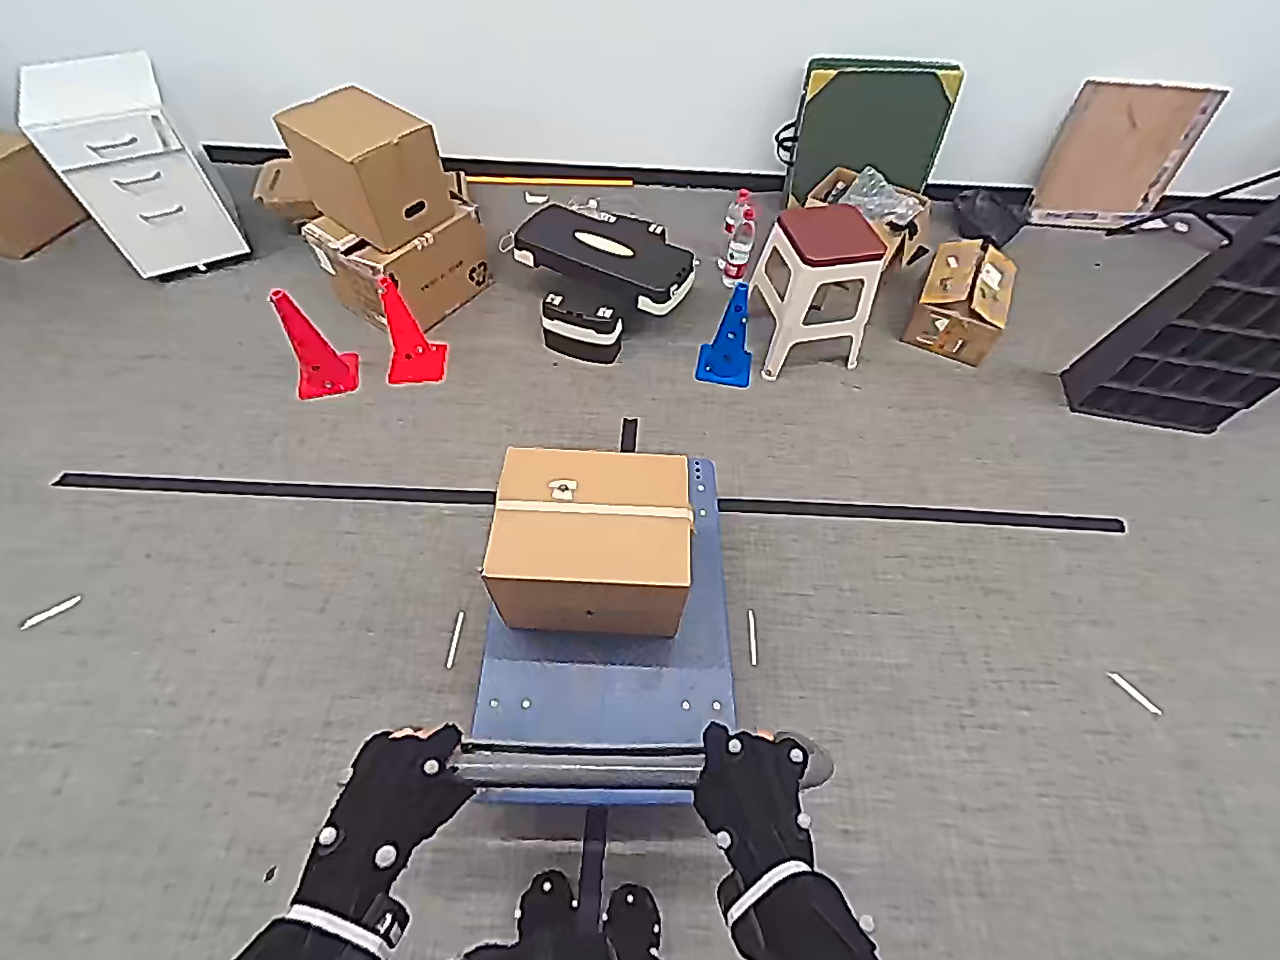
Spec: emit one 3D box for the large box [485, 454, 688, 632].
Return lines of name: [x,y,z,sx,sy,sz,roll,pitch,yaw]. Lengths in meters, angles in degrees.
large box: [-0.103,0.156,1.260,0.408,0.320,0.320,3,56,0]
